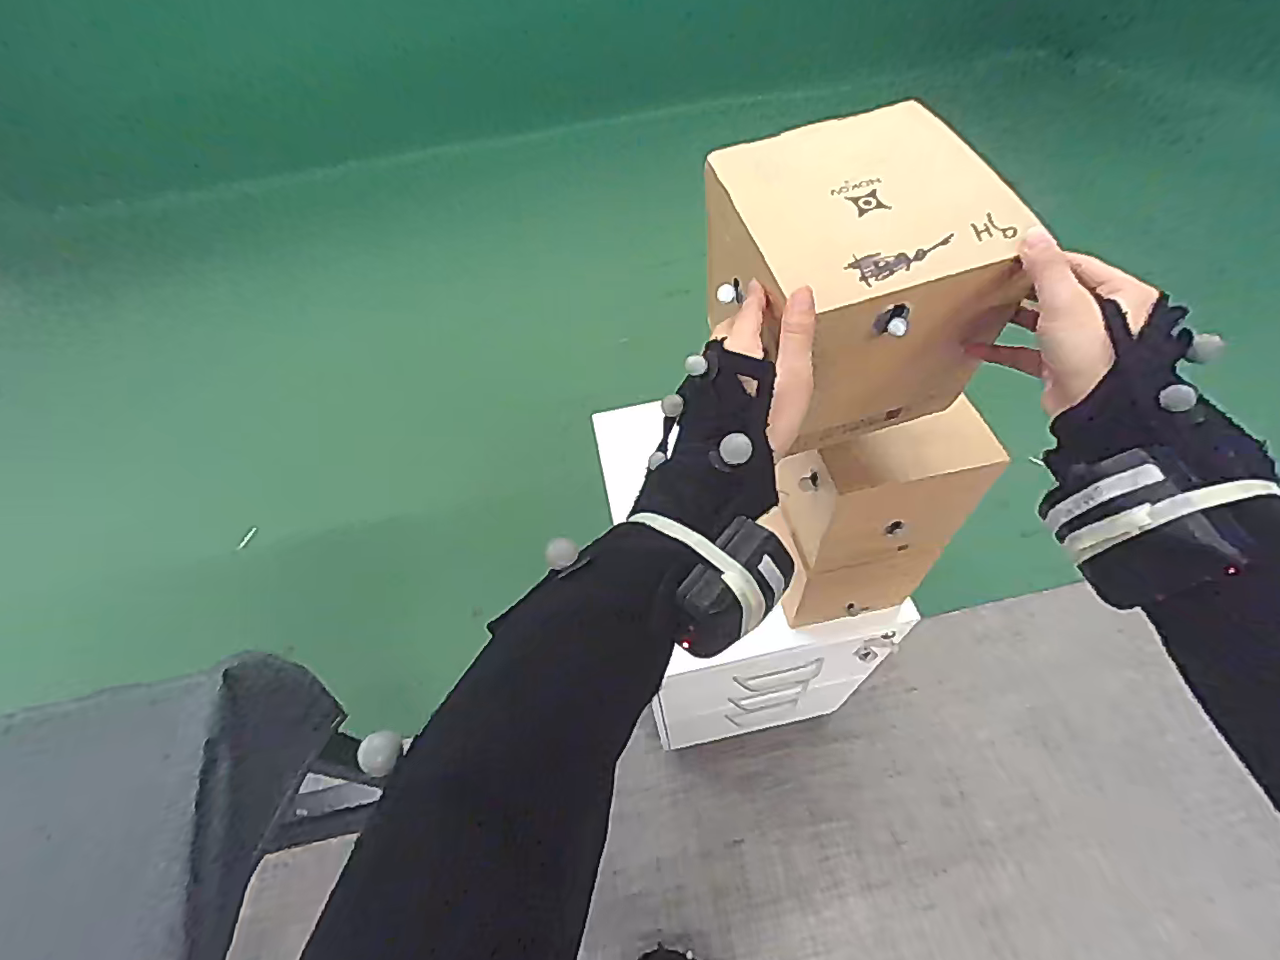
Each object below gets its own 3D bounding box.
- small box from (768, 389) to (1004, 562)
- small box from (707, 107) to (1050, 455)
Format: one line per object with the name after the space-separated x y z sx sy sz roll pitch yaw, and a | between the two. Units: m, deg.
0.255 -0.020 0.614 0.168 0.176 0.179 -10 54 -2 | small box
0.154 -0.148 0.429 0.168 0.176 0.179 -16 61 -2 | small box
